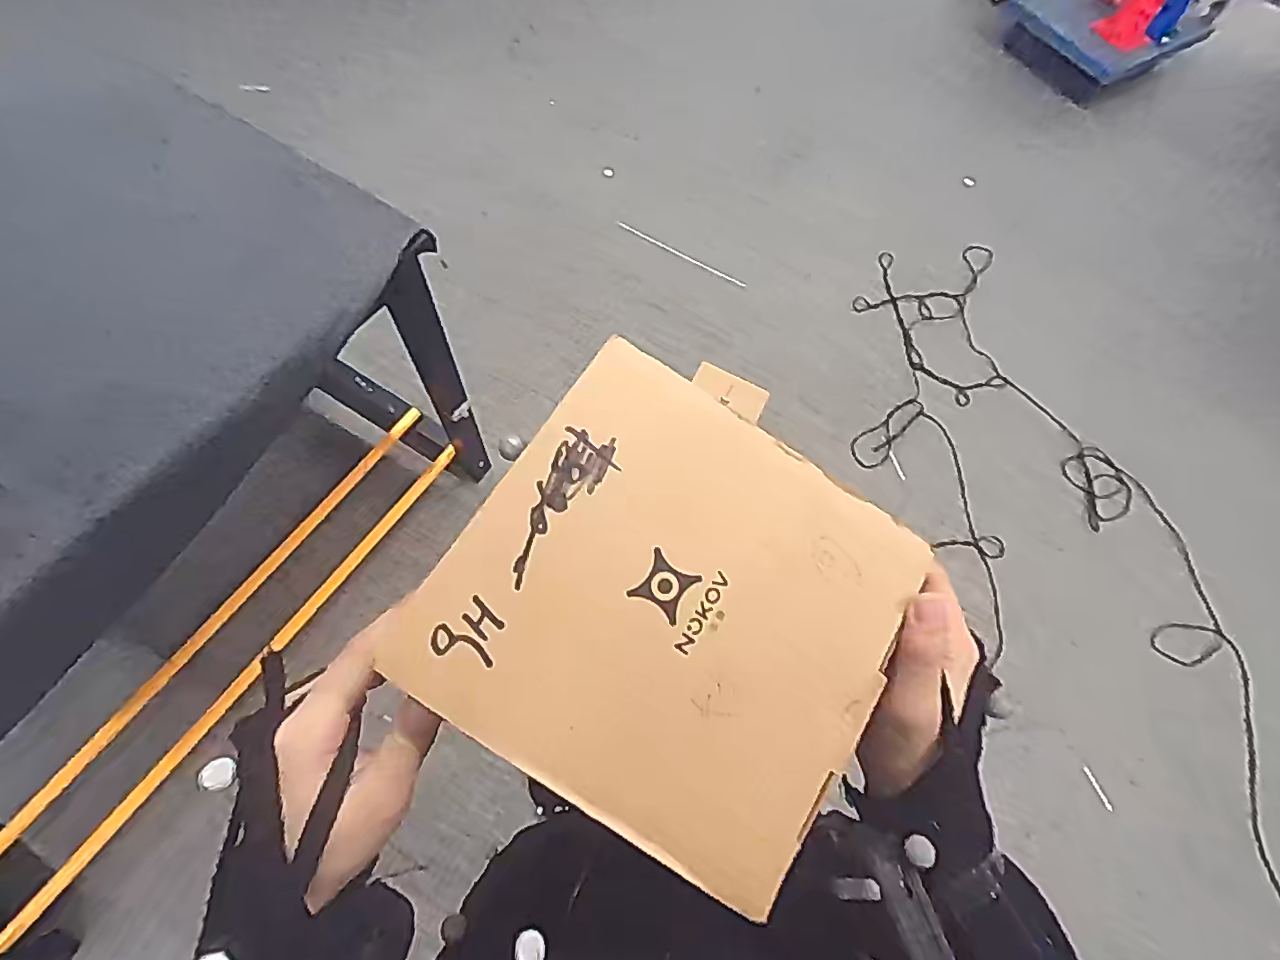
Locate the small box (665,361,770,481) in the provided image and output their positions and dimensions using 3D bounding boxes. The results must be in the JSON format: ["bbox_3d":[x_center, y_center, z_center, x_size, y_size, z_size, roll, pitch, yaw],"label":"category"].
[{"bbox_3d":[0.166,-0.124,1.214,0.168,0.176,0.179,27,65,5],"label":"small box"}]
